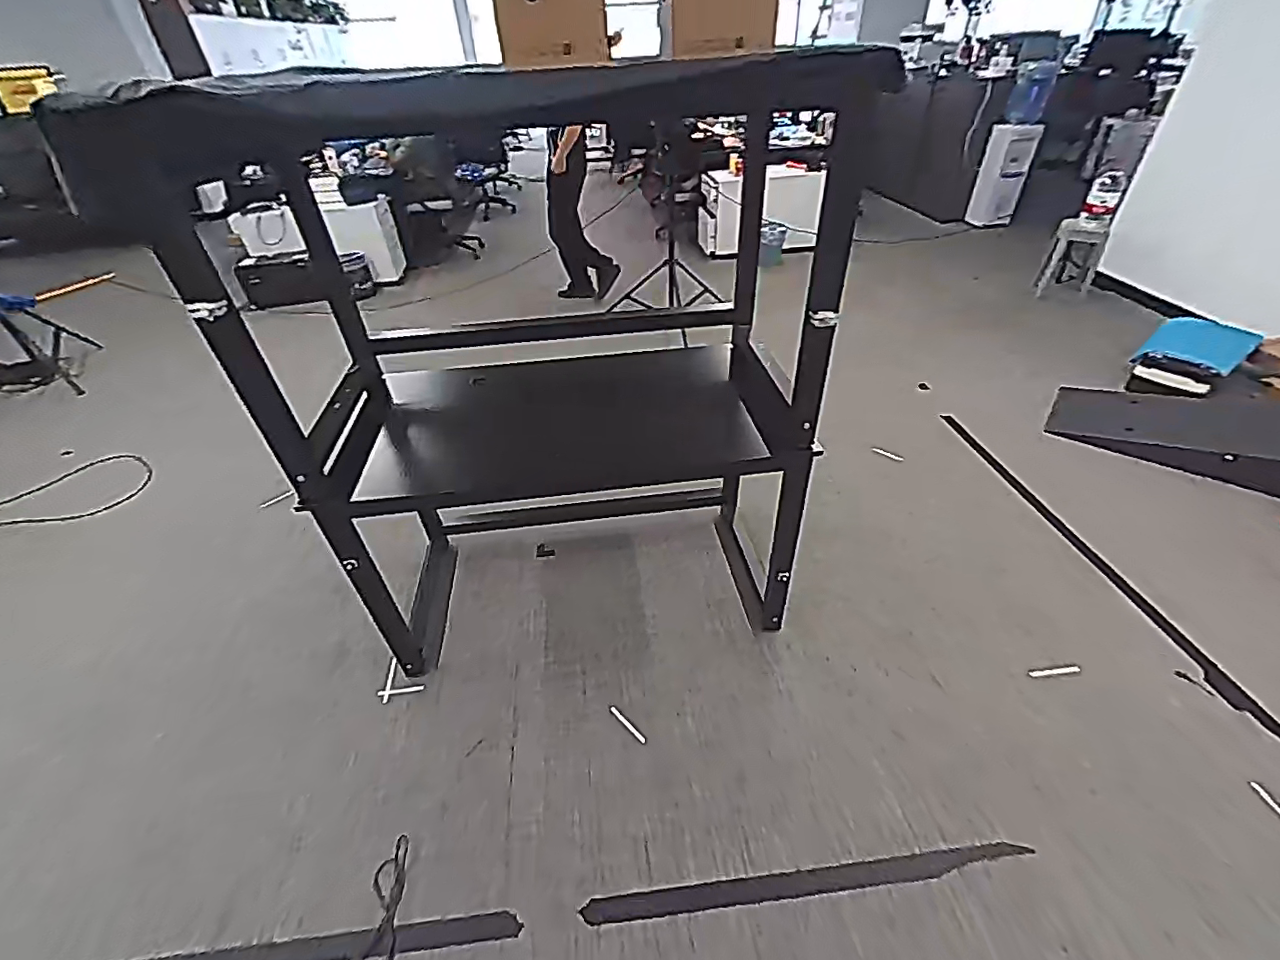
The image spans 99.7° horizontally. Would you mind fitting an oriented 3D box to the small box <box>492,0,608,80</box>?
[{"bbox_3d":[-0.140,-0.751,0.862,0.168,0.176,0.179,-4,38,-1],"label":"small box"}]
